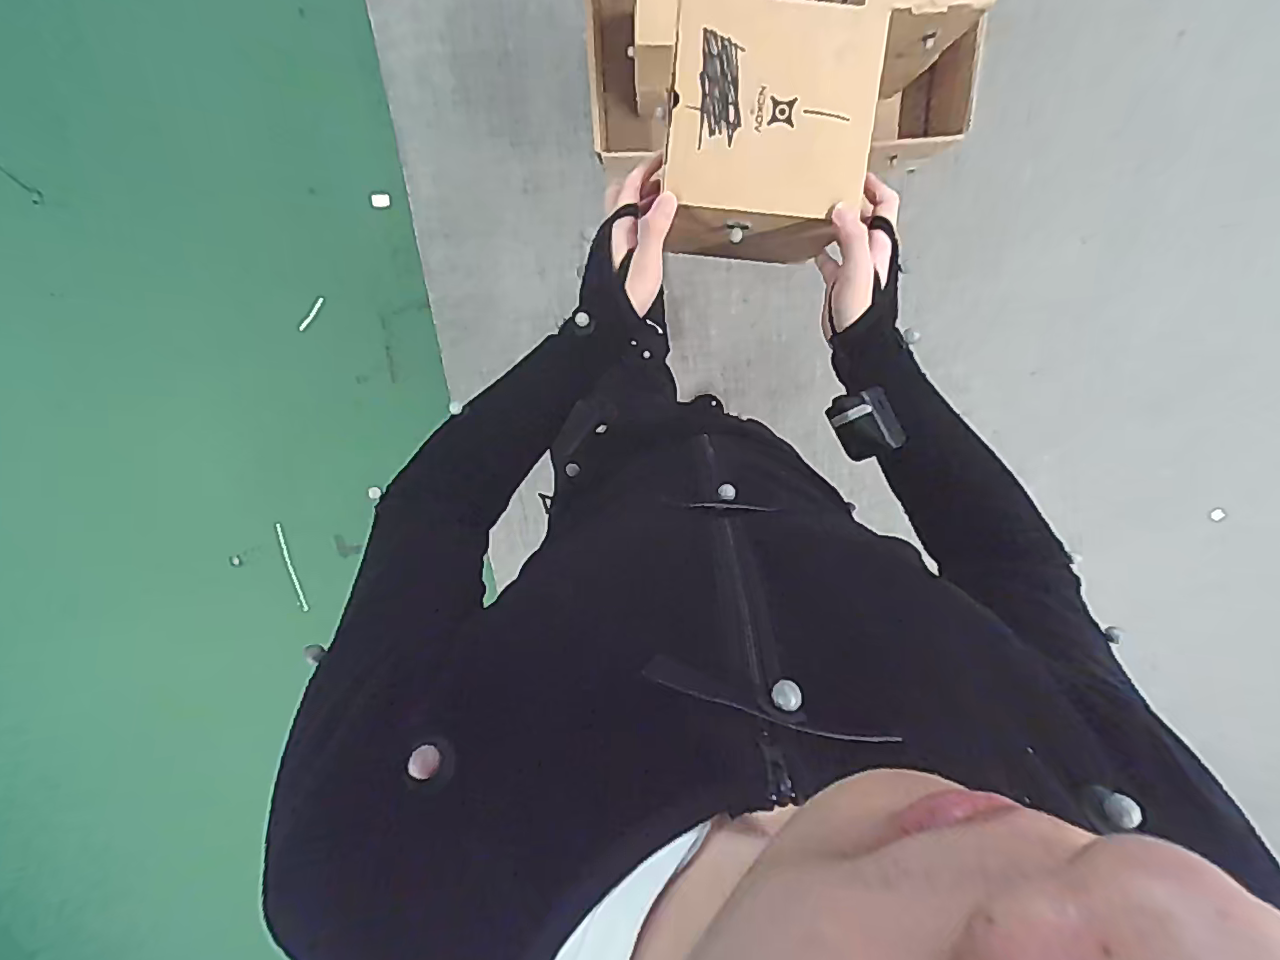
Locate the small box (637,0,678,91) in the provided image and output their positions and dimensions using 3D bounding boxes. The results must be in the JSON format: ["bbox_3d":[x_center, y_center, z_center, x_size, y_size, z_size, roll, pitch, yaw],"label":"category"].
[{"bbox_3d":[0.084,-0.655,0.738,0.168,0.176,0.179,2,107,1],"label":"small box"}]

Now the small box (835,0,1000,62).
[{"bbox_3d":[0.362,-0.686,0.718,0.168,0.176,0.179,-1,108,1],"label":"small box"}]

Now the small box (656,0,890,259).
[{"bbox_3d":[0.111,-0.327,0.532,0.179,0.176,0.168,6,100,-2],"label":"small box"}]
